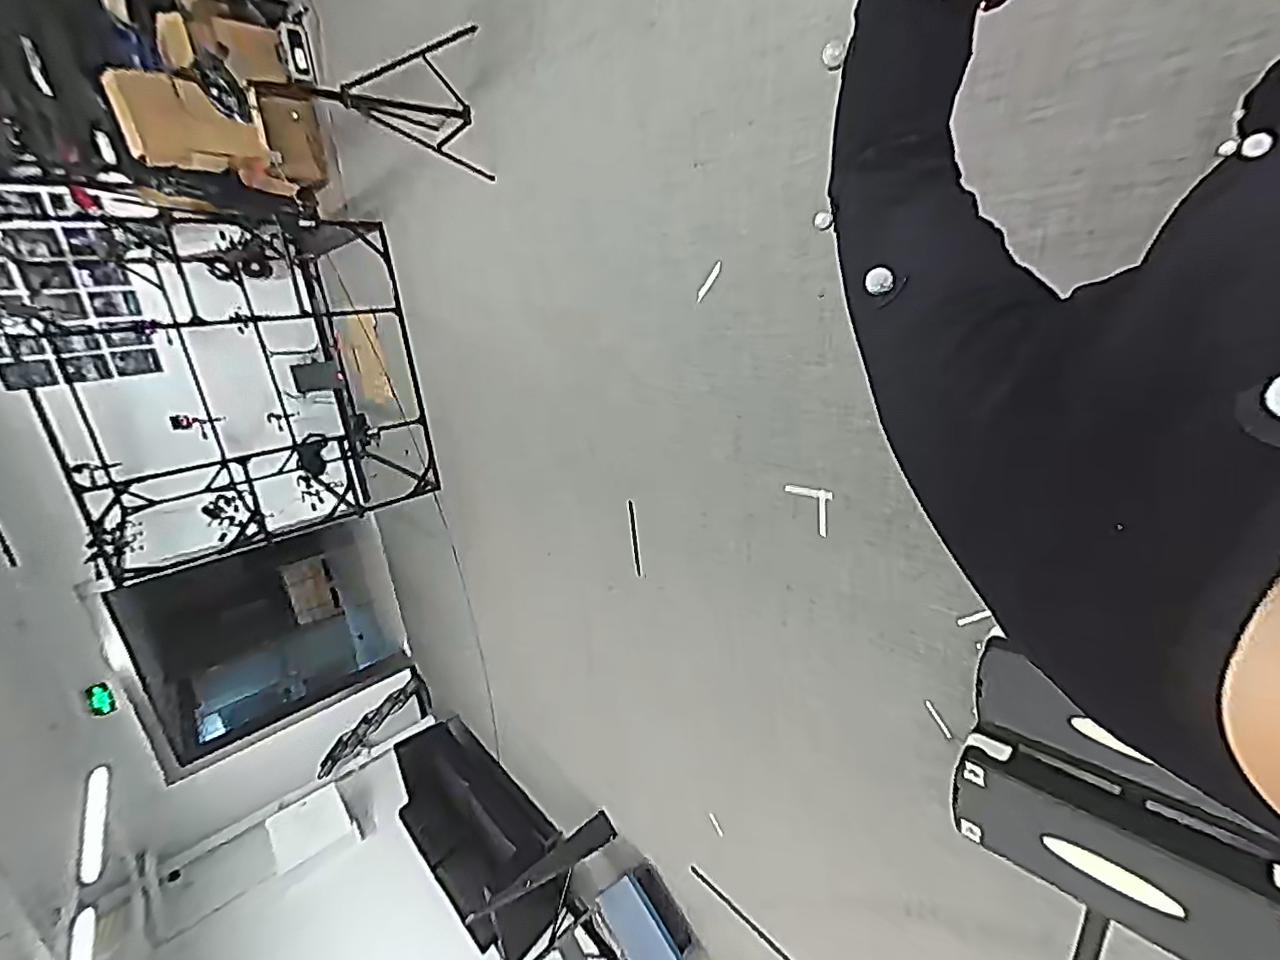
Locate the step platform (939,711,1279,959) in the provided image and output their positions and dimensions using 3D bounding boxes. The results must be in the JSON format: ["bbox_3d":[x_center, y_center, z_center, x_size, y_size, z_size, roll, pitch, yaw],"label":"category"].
[{"bbox_3d":[1.121,0.865,1.323,0.684,0.204,0.286,13,115,48],"label":"step platform"}]
